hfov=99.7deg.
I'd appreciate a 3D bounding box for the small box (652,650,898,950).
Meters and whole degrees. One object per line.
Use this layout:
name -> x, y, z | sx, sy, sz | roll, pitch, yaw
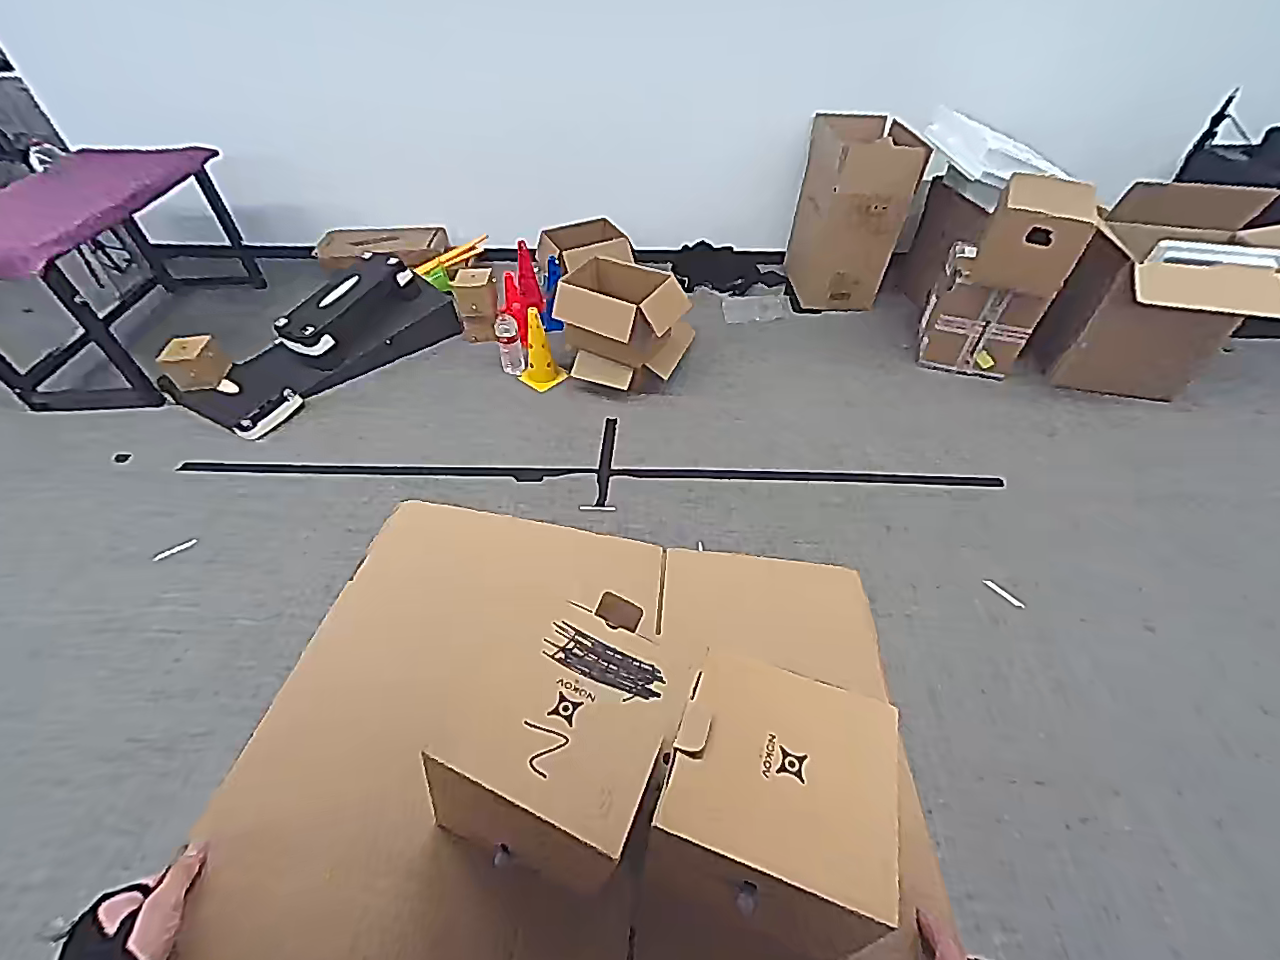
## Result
small box -> 0.119, 0.295, 0.500 | 0.179, 0.176, 0.168 | 14, 42, 14
